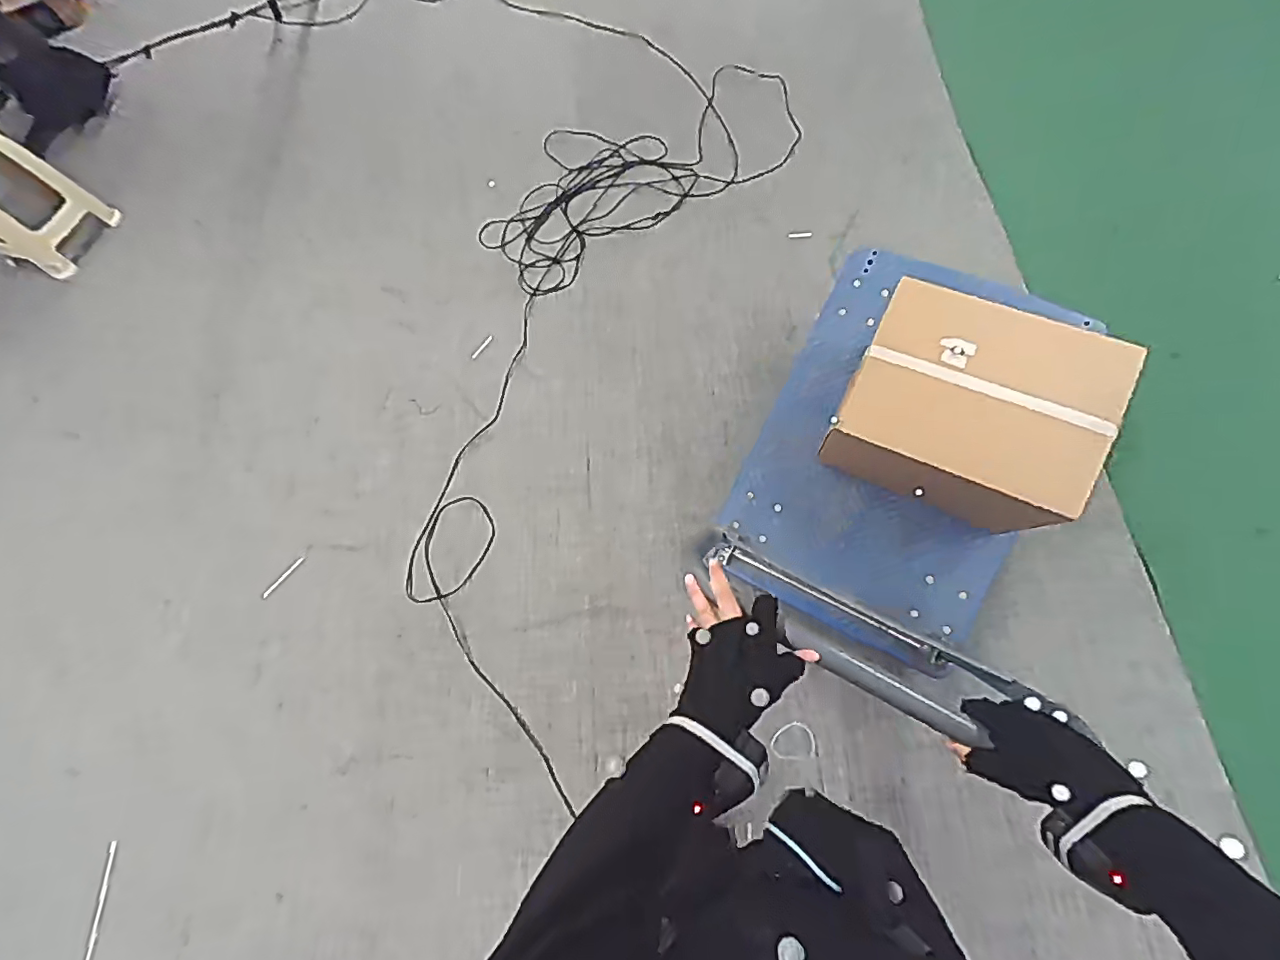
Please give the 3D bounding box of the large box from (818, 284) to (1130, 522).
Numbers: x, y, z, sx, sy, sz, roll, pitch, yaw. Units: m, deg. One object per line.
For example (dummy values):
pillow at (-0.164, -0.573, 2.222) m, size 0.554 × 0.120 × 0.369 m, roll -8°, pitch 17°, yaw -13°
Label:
large box at (0.619, -0.134, 1.088) m, size 0.408 × 0.320 × 0.320 m, roll 23°, pitch 86°, yaw 16°
